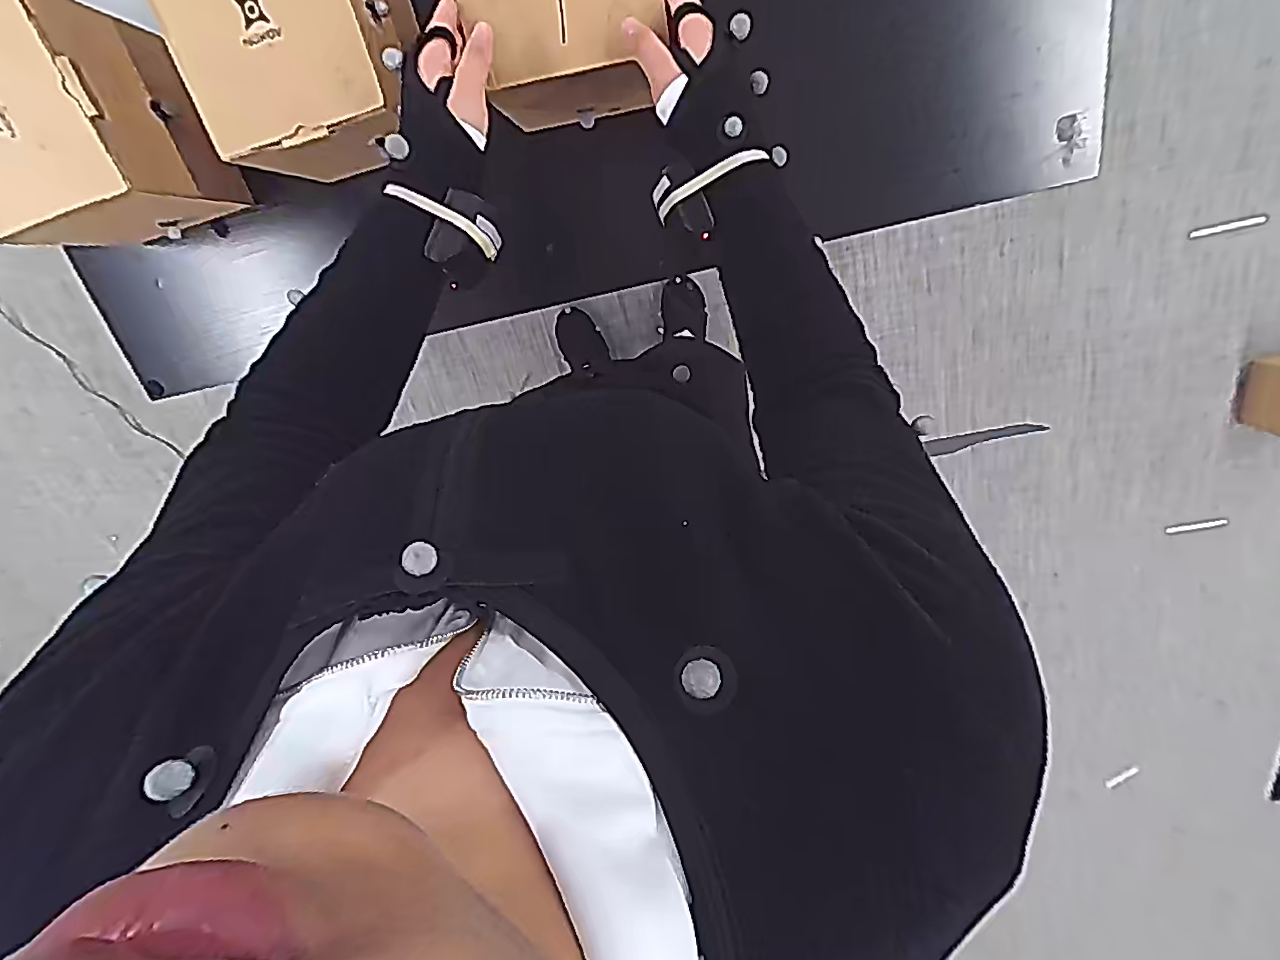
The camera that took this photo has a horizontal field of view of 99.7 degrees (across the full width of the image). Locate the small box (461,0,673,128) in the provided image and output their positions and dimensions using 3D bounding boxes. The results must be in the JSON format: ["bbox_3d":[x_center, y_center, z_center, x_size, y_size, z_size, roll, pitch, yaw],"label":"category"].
[{"bbox_3d":[-0.064,-0.445,0.486,0.168,0.176,0.179,-7,113,5],"label":"small box"}]

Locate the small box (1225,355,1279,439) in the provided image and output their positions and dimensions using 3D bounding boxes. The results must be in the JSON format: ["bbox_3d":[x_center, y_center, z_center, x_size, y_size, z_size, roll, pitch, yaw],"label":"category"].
[{"bbox_3d":[1.592,-0.207,1.308,0.168,0.176,0.179,-10,113,8],"label":"small box"}]

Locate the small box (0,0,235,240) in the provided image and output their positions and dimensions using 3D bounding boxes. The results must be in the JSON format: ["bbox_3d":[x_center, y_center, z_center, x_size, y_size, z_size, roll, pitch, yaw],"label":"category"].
[{"bbox_3d":[-0.563,-0.353,0.547,0.179,0.176,0.168,-13,111,7],"label":"small box"}]

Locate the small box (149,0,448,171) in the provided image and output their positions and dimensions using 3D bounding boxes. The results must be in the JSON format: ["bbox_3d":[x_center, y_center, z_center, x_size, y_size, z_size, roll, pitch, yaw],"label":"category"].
[{"bbox_3d":[-0.309,-0.412,0.513,0.168,0.176,0.179,-12,111,6],"label":"small box"}]
